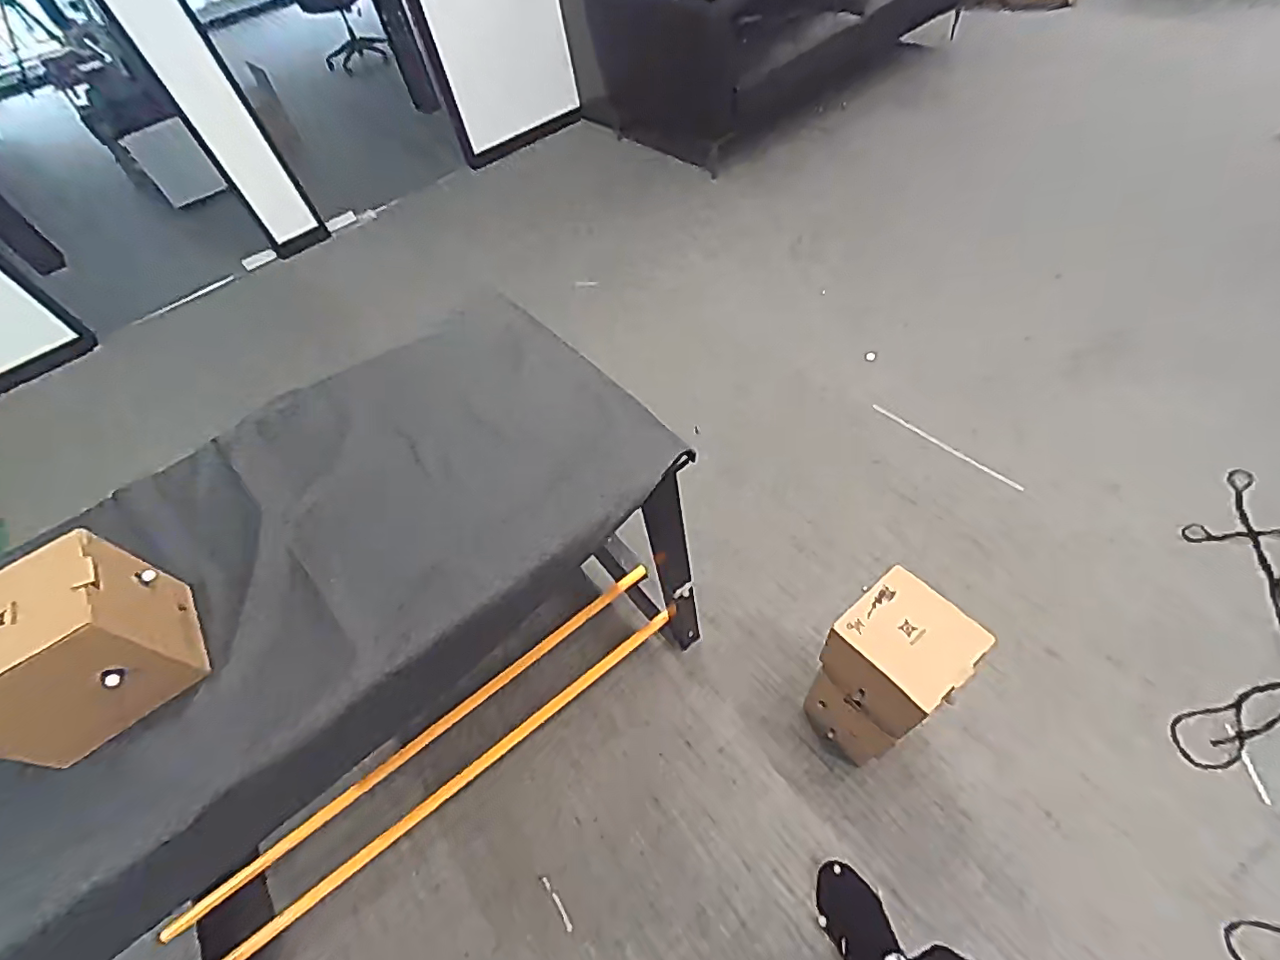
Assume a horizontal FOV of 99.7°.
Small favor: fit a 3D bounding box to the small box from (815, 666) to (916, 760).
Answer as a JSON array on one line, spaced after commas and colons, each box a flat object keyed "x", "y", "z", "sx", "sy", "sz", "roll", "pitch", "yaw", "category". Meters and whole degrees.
[{"x": 0.449, "y": 0.391, "z": 1.016, "sx": 0.179, "sy": 0.176, "sz": 0.168, "roll": -36, "pitch": 56, "yaw": -18, "category": "small box"}]

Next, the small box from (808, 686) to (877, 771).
[{"x": 0.479, "y": 0.480, "z": 1.151, "sx": 0.179, "sy": 0.176, "sz": 0.168, "roll": -34, "pitch": 54, "yaw": -17, "category": "small box"}]

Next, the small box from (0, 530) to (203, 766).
[{"x": -0.666, "y": 0.200, "z": 0.642, "sx": 0.179, "sy": 0.176, "sz": 0.168, "roll": -37, "pitch": 54, "yaw": -17, "category": "small box"}]

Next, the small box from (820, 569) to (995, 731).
[{"x": 0.426, "y": 0.287, "z": 0.891, "sx": 0.168, "sy": 0.176, "sz": 0.179, "roll": -34, "pitch": 56, "yaw": -17, "category": "small box"}]
